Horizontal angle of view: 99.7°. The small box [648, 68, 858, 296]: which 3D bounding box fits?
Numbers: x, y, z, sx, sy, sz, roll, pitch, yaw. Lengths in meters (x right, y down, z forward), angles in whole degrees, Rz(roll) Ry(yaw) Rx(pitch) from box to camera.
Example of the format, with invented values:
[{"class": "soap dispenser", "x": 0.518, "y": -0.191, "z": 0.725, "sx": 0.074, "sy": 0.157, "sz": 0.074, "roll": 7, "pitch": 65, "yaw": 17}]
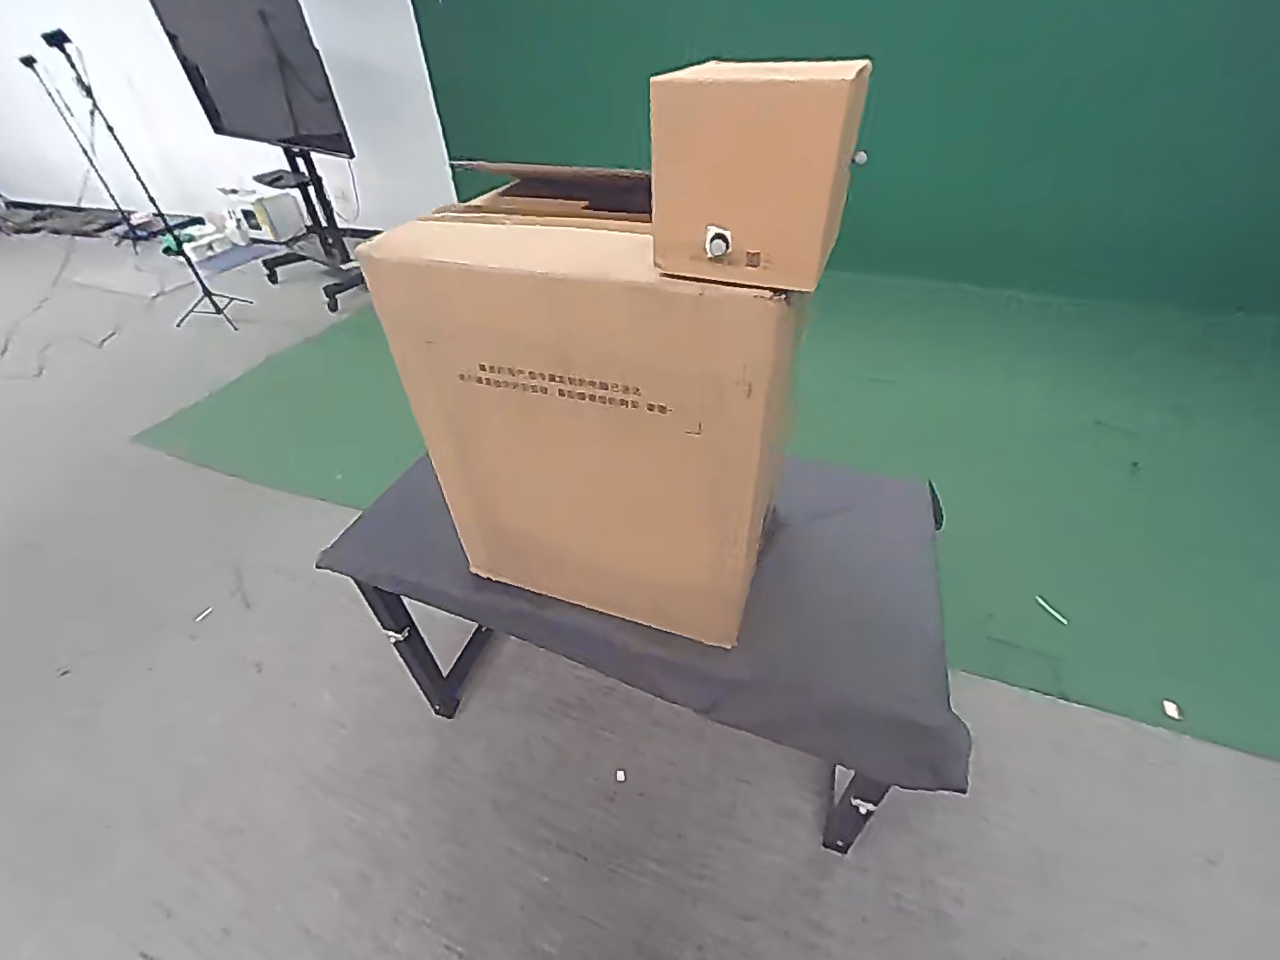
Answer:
[{"class": "small box", "x": 0.112, "y": -0.307, "z": 0.551, "sx": 0.168, "sy": 0.176, "sz": 0.179, "roll": 12, "pitch": 43, "yaw": 17}]
